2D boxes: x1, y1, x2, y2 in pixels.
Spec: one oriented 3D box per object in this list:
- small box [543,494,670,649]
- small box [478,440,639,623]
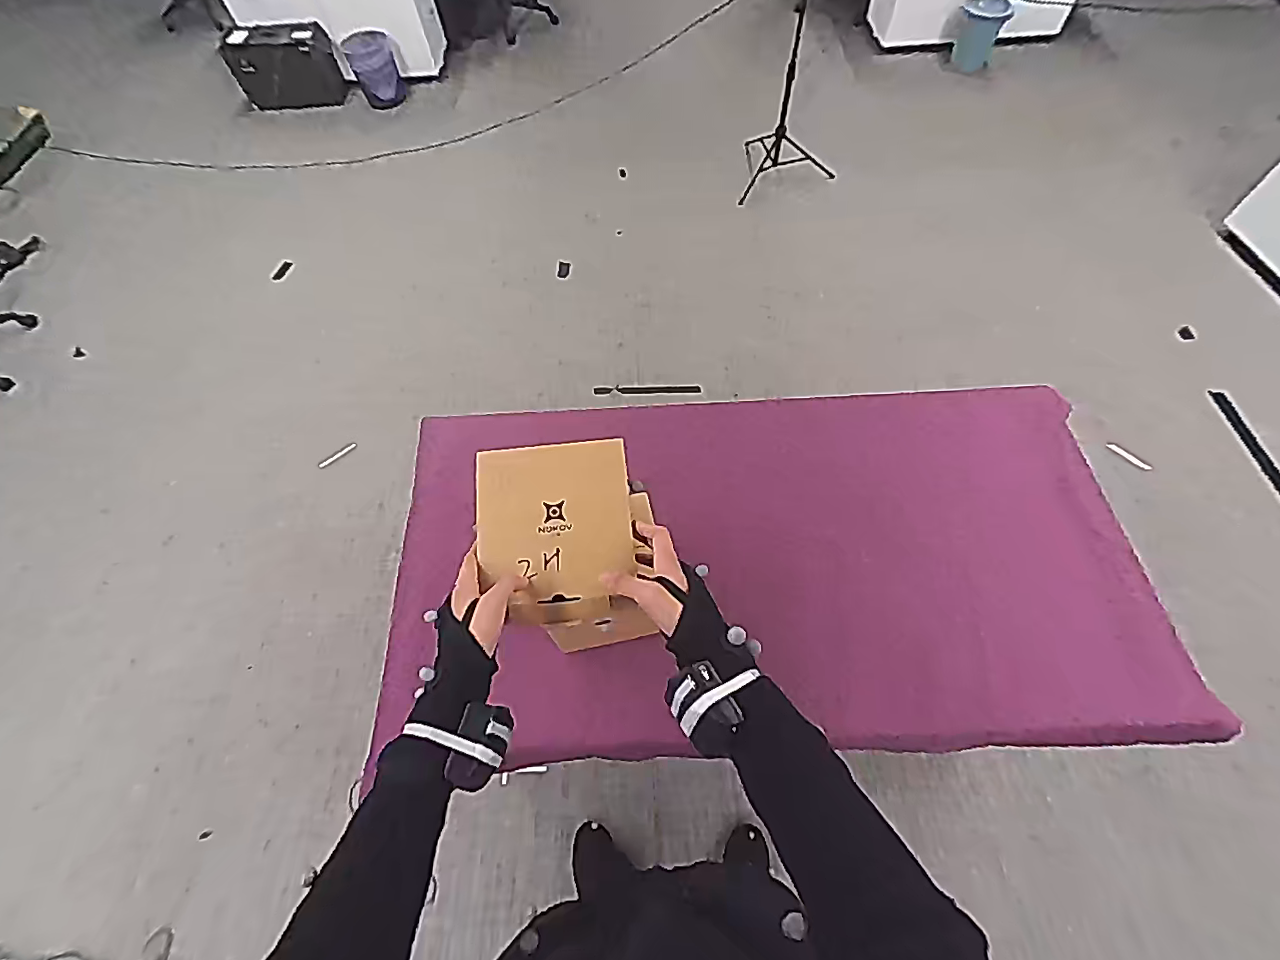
[{"bbox_3d":[-0.055,0.144,0.817,0.179,0.176,0.168,-11,61,-4],"label":"small box"},{"bbox_3d":[-0.090,0.069,0.654,0.168,0.176,0.179,-5,70,-1],"label":"small box"}]
